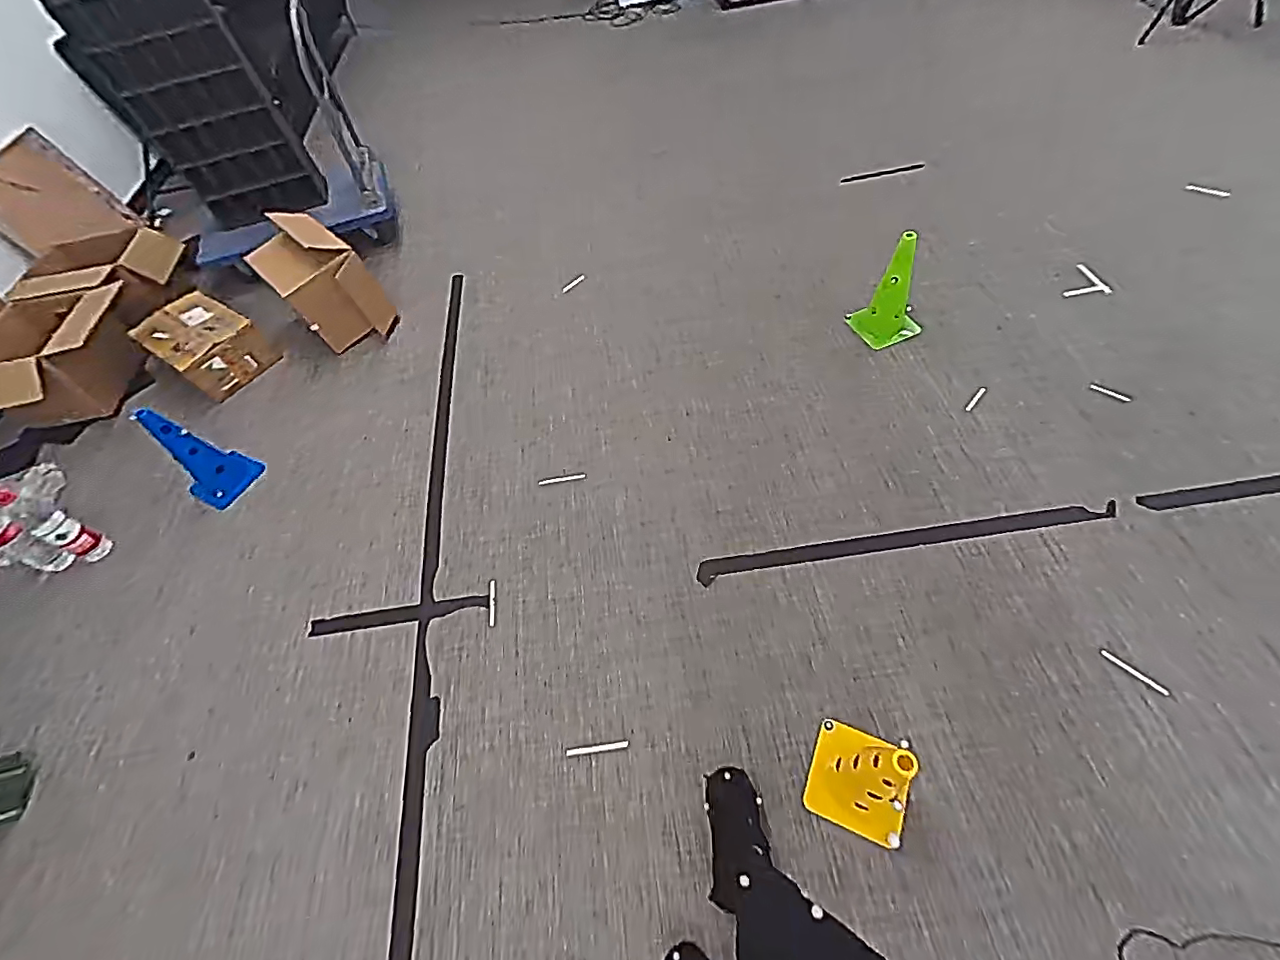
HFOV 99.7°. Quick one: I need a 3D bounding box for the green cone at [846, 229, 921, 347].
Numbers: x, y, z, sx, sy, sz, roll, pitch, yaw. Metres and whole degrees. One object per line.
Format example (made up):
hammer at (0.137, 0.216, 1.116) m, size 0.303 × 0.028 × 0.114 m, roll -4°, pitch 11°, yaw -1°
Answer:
green cone at (0.864, -0.664, 1.820) m, size 0.202 × 0.368 × 0.200 m, roll -22°, pitch 57°, yaw -8°
